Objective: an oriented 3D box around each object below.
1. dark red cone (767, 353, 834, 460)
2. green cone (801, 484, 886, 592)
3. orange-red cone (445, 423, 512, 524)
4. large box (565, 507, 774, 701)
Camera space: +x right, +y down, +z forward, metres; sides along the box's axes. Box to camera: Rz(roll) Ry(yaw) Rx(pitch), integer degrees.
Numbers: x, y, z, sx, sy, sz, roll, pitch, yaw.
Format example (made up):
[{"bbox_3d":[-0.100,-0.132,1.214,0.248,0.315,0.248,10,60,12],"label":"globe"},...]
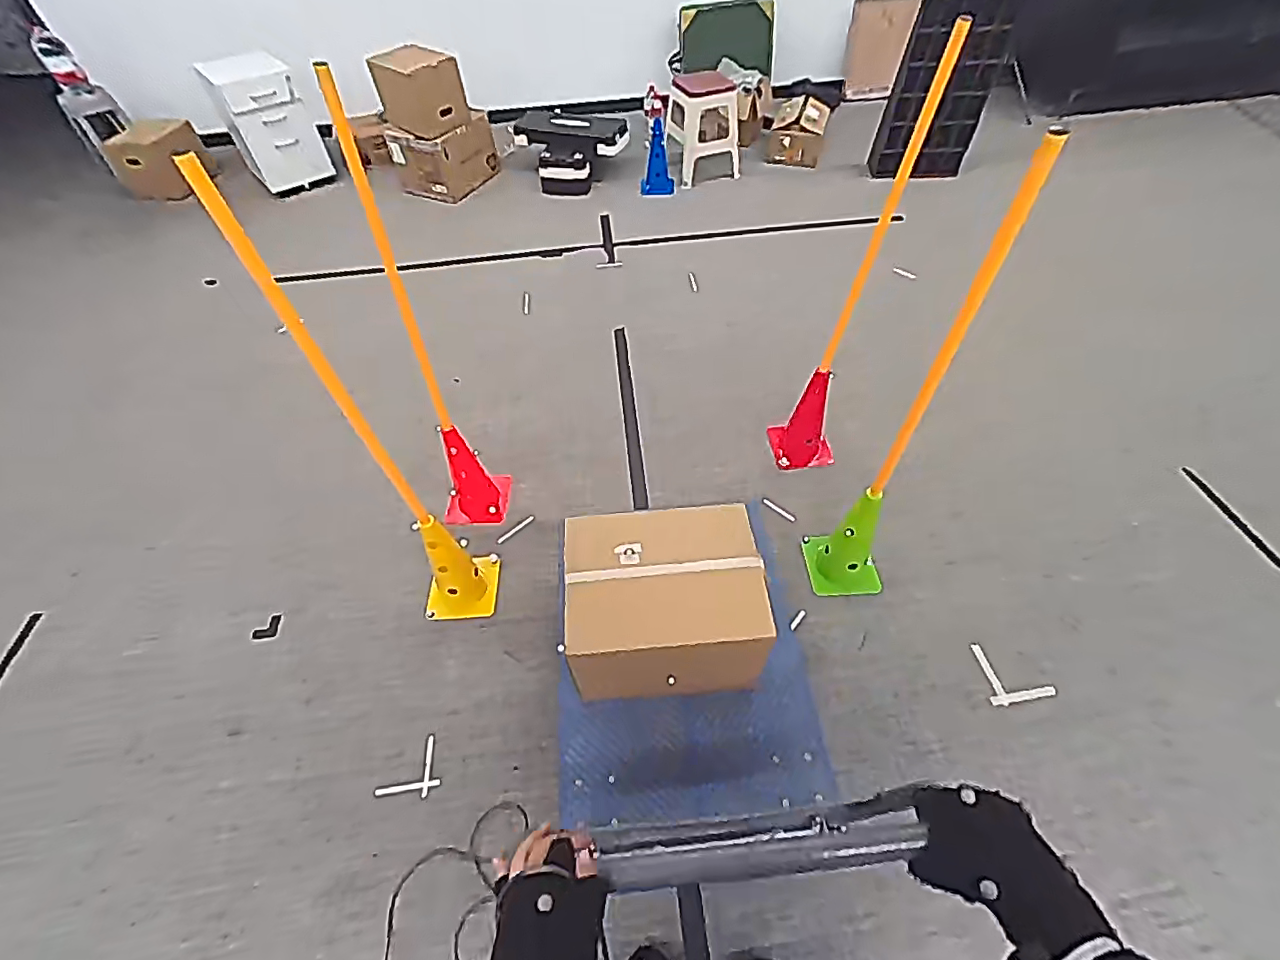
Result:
[{"bbox_3d":[0.565,-0.249,1.789,0.201,0.394,0.202,-5,52,-4],"label":"dark red cone"},{"bbox_3d":[0.600,0.140,1.501,0.202,0.368,0.200,-3,52,-1],"label":"green cone"},{"bbox_3d":[-0.547,-0.042,1.703,0.198,0.360,0.199,0,50,2],"label":"orange-red cone"},{"bbox_3d":[0.054,0.289,1.227,0.408,0.320,0.320,-5,52,-1],"label":"large box"}]
